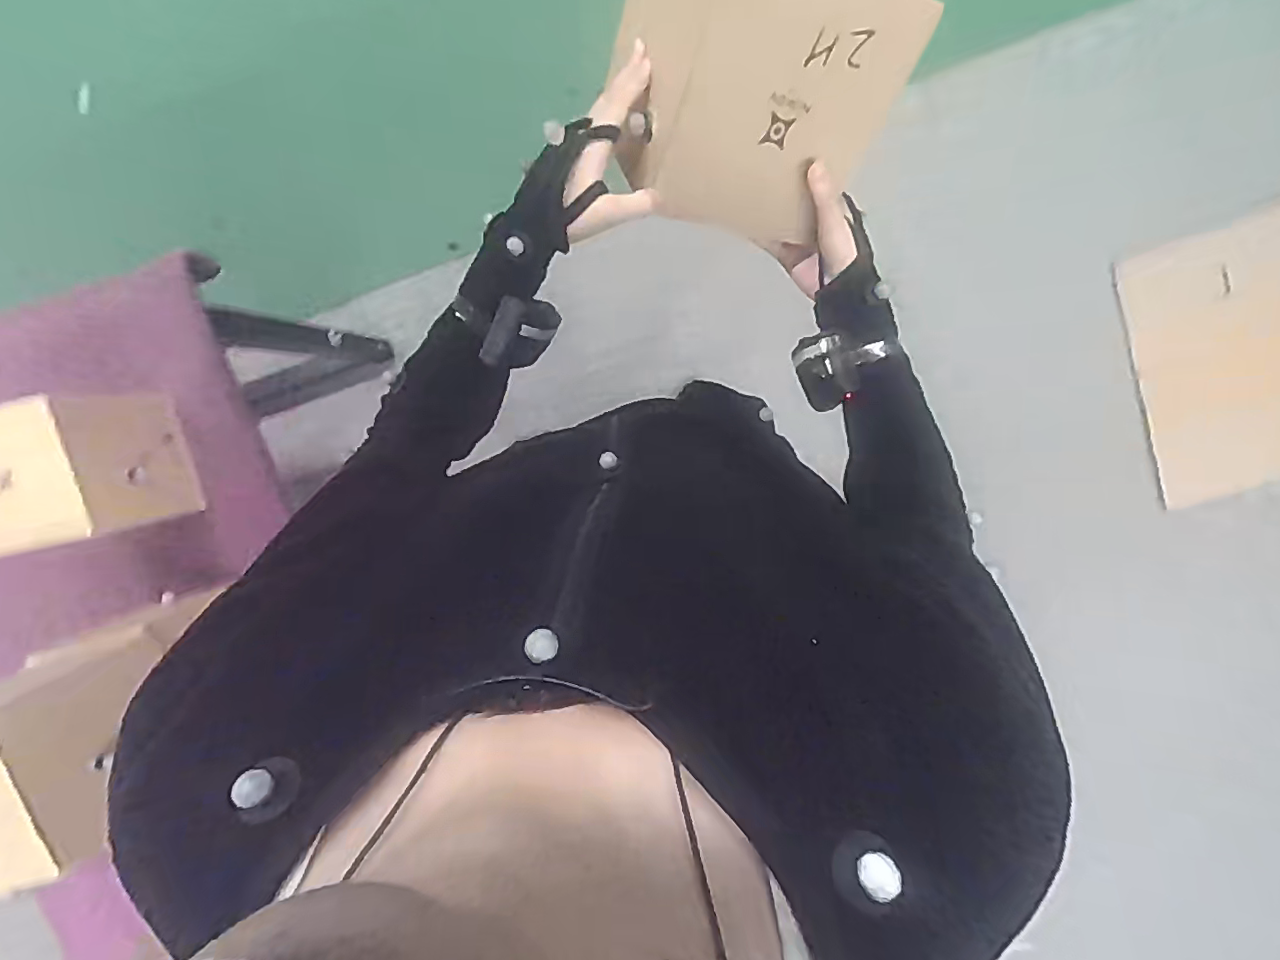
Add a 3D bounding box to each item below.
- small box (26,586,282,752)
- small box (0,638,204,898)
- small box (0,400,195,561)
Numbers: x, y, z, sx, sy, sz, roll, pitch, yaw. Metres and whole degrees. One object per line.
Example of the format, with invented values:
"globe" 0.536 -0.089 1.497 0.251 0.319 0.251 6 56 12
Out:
"small box" -0.637 0.268 0.736 0.168 0.176 0.179 -15 98 4
"small box" -0.625 0.299 0.575 0.168 0.176 0.179 -16 99 5
"small box" -0.725 -0.006 0.694 0.179 0.176 0.168 -12 99 3
